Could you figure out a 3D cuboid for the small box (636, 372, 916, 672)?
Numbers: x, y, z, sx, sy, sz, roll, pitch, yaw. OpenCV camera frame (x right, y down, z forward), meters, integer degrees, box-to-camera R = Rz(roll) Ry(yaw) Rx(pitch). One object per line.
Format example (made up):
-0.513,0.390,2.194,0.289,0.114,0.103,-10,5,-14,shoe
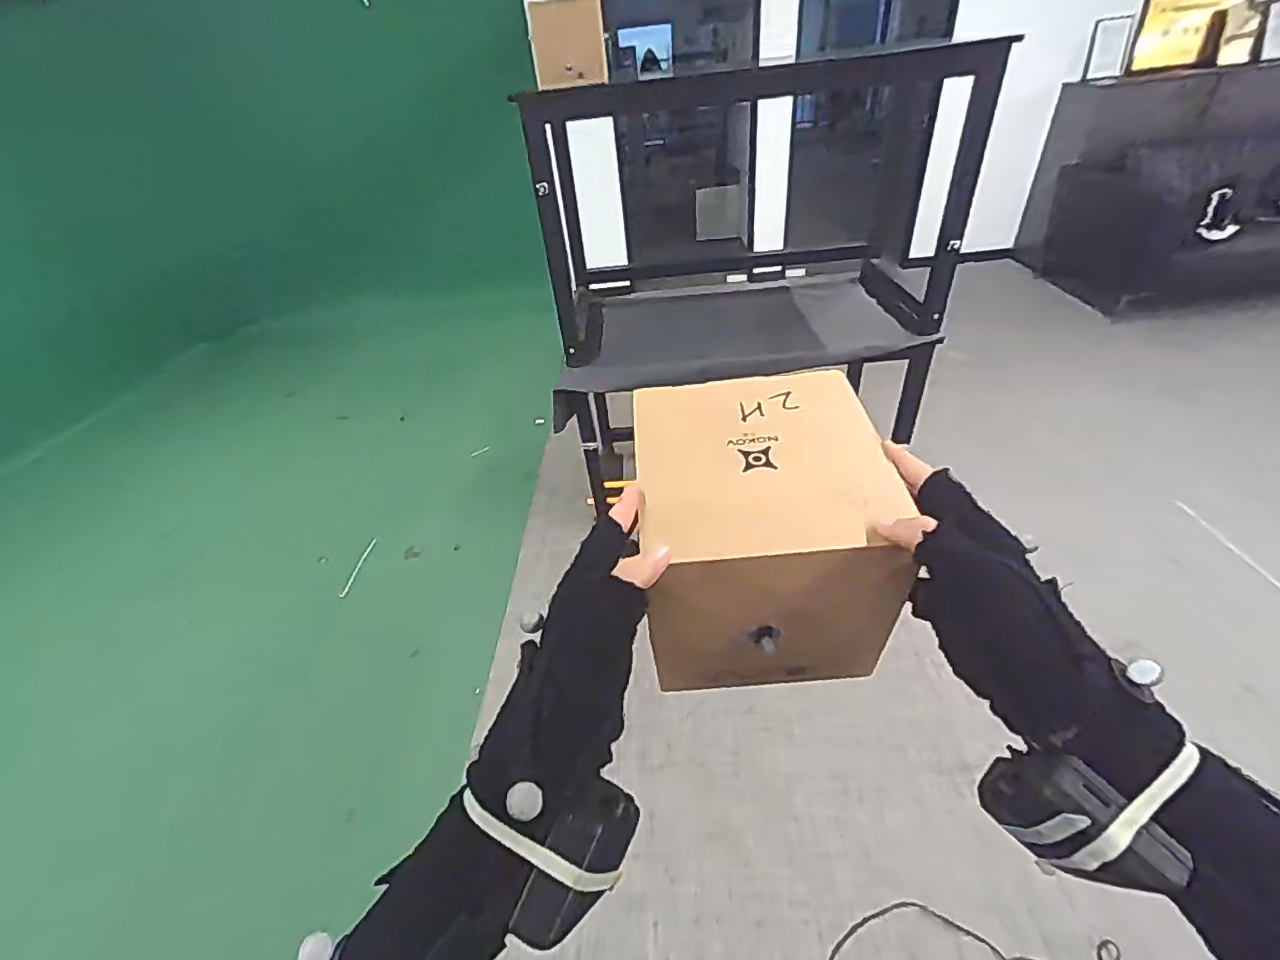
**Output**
0.087,0.039,0.429,0.168,0.176,0.179,-4,44,2,small box
